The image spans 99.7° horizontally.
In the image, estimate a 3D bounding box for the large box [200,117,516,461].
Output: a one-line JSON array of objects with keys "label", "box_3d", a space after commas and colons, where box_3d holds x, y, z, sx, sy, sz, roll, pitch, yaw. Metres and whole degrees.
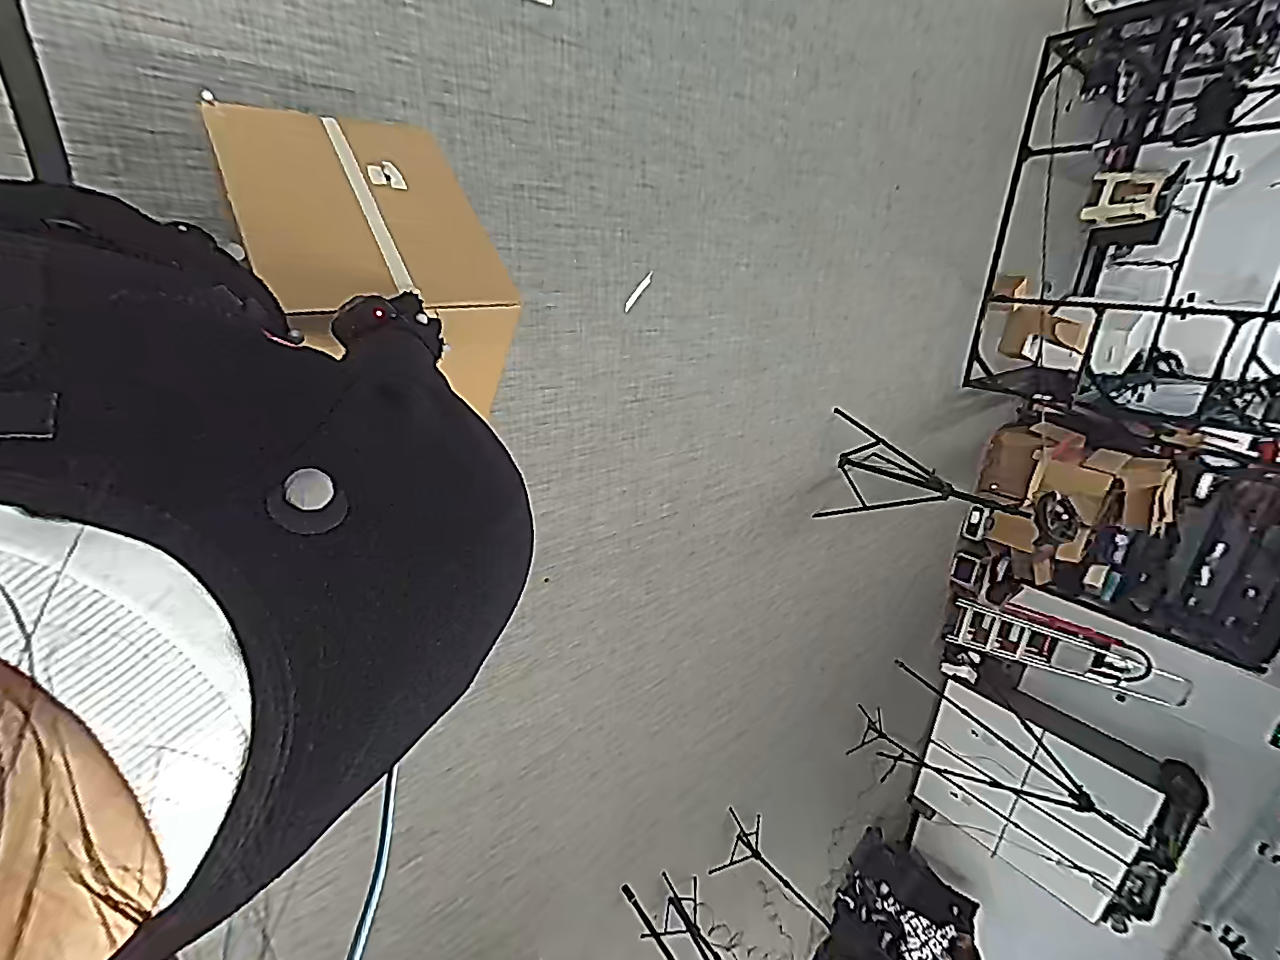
[{"label": "large box", "box_3d": [-0.452, -0.300, 0.883, 0.320, 0.408, 0.320, -16, 156, -36]}]
